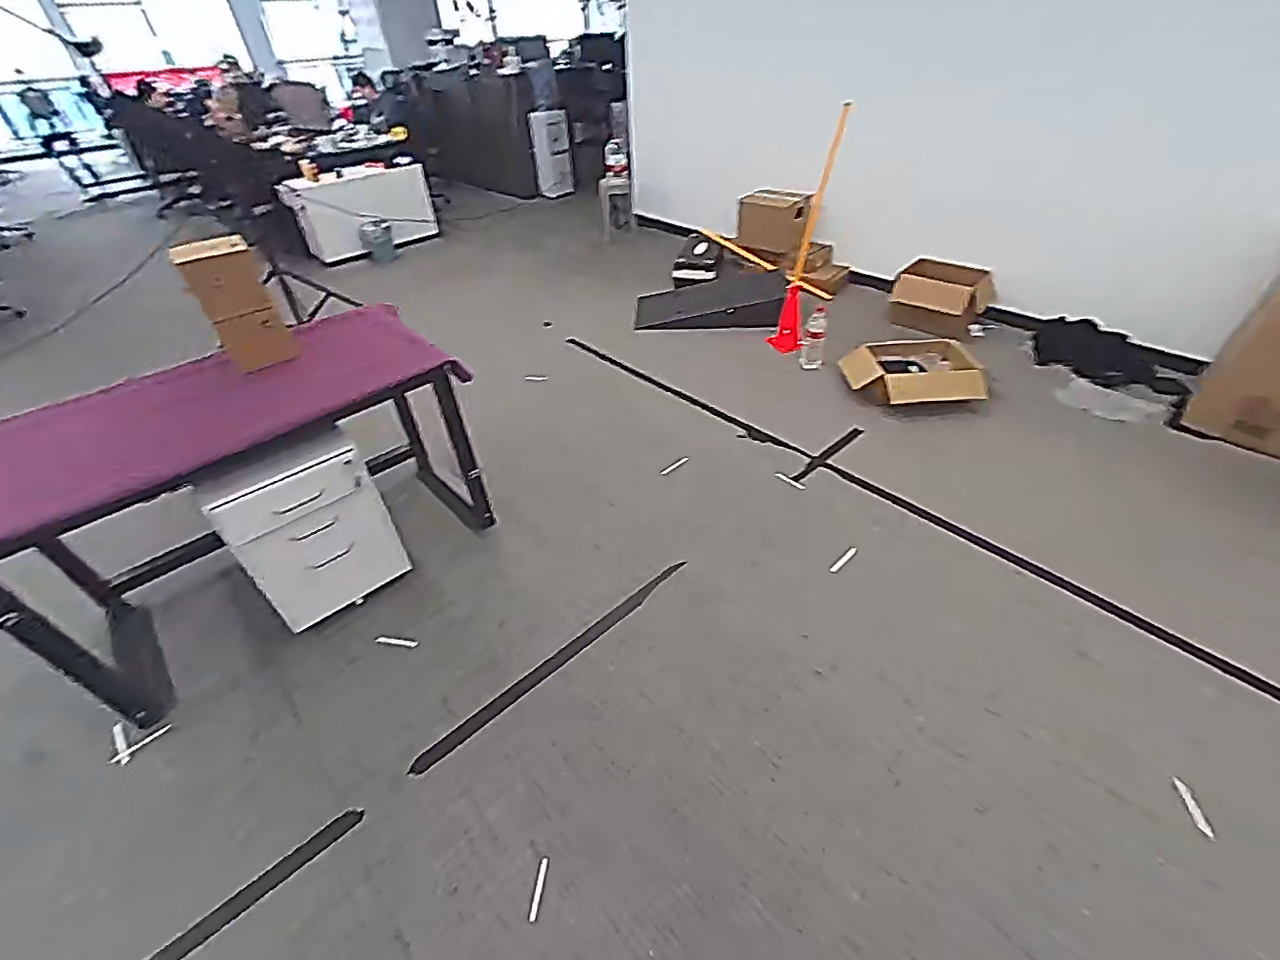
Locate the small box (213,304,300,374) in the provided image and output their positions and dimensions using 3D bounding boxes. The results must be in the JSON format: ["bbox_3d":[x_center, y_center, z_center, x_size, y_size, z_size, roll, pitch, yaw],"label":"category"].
[{"bbox_3d":[-1.185,-0.453,1.671,0.179,0.176,0.168,-30,48,-27],"label":"small box"}]

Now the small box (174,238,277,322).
[{"bbox_3d":[-1.194,-0.576,1.563,0.179,0.176,0.168,-29,48,-26],"label":"small box"}]
